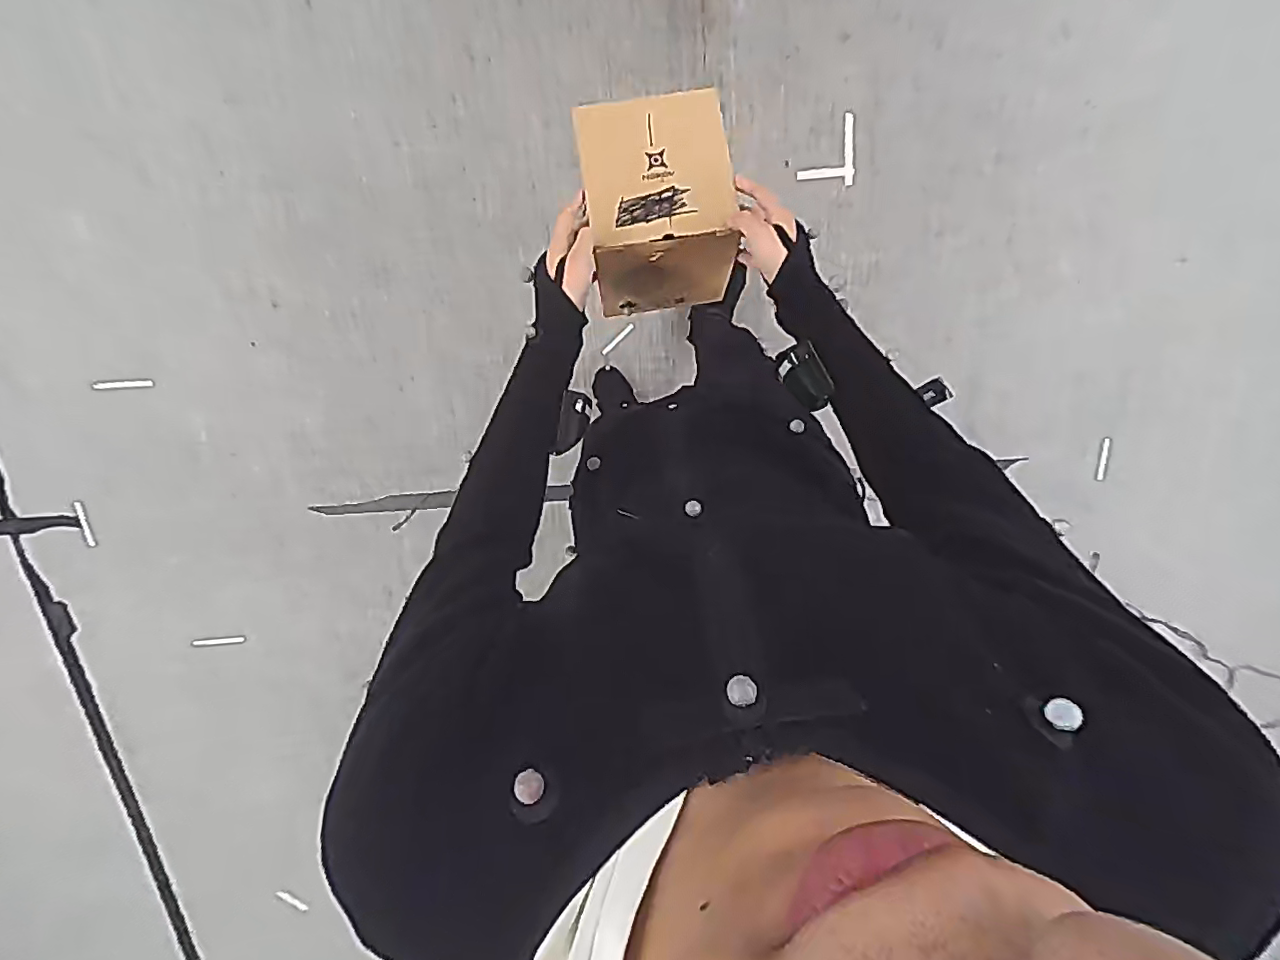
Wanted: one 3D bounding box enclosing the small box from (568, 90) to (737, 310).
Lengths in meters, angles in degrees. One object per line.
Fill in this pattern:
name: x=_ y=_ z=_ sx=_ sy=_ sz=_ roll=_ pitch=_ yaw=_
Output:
small box: x=0.014 y=-0.328 z=0.670 sx=0.168 sy=0.176 sz=0.179 roll=-10 pitch=81 yaw=-1
